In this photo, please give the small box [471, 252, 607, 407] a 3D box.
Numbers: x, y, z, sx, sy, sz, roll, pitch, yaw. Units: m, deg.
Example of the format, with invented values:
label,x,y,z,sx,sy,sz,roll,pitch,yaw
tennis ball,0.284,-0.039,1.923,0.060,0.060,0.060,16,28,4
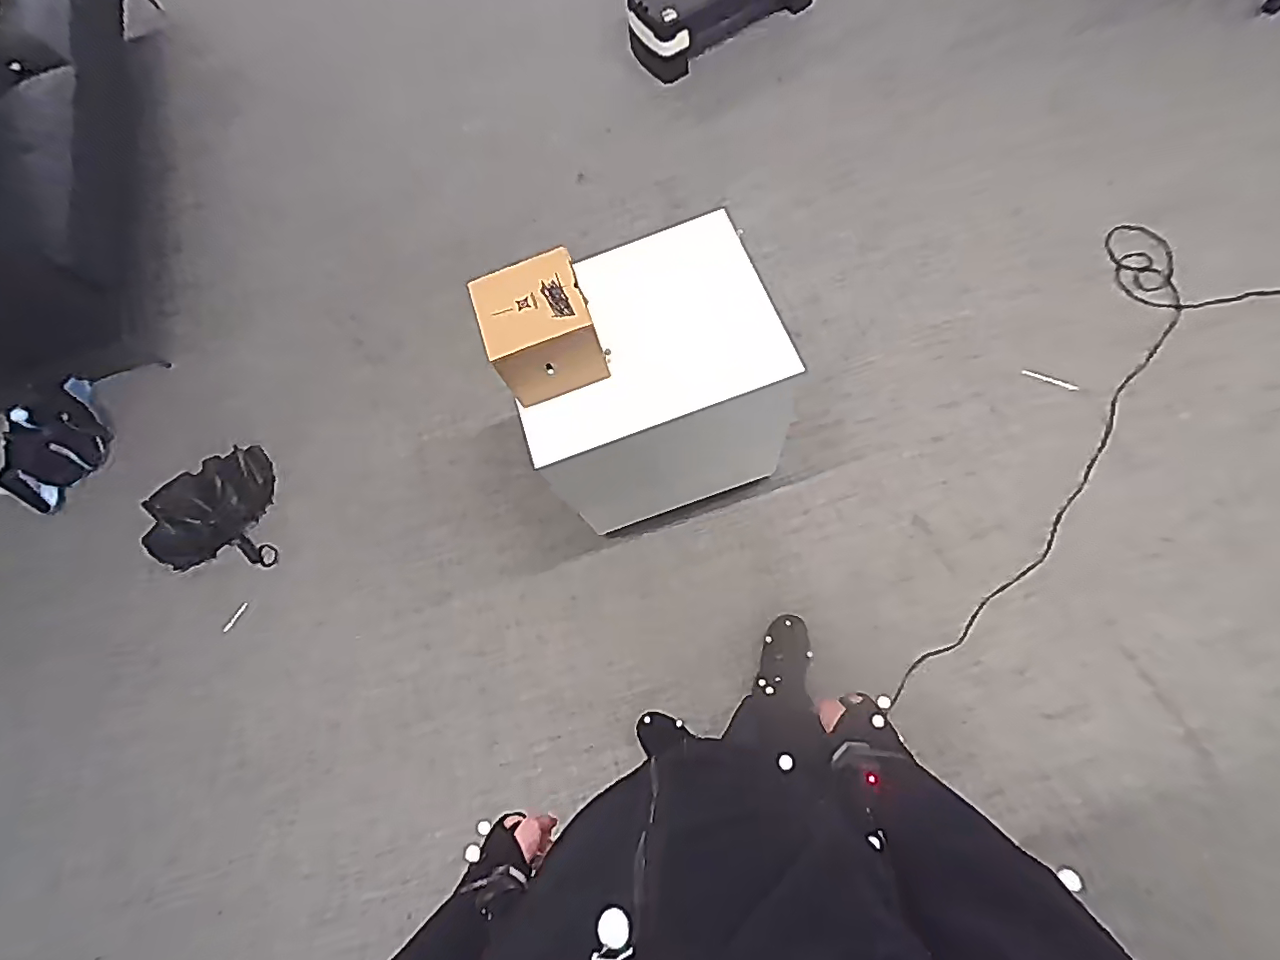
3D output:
label,x,y,z,sx,sy,sz,roll,pitch,yaw
small box,-0.166,-0.254,0.946,0.179,0.176,0.168,-20,70,1
